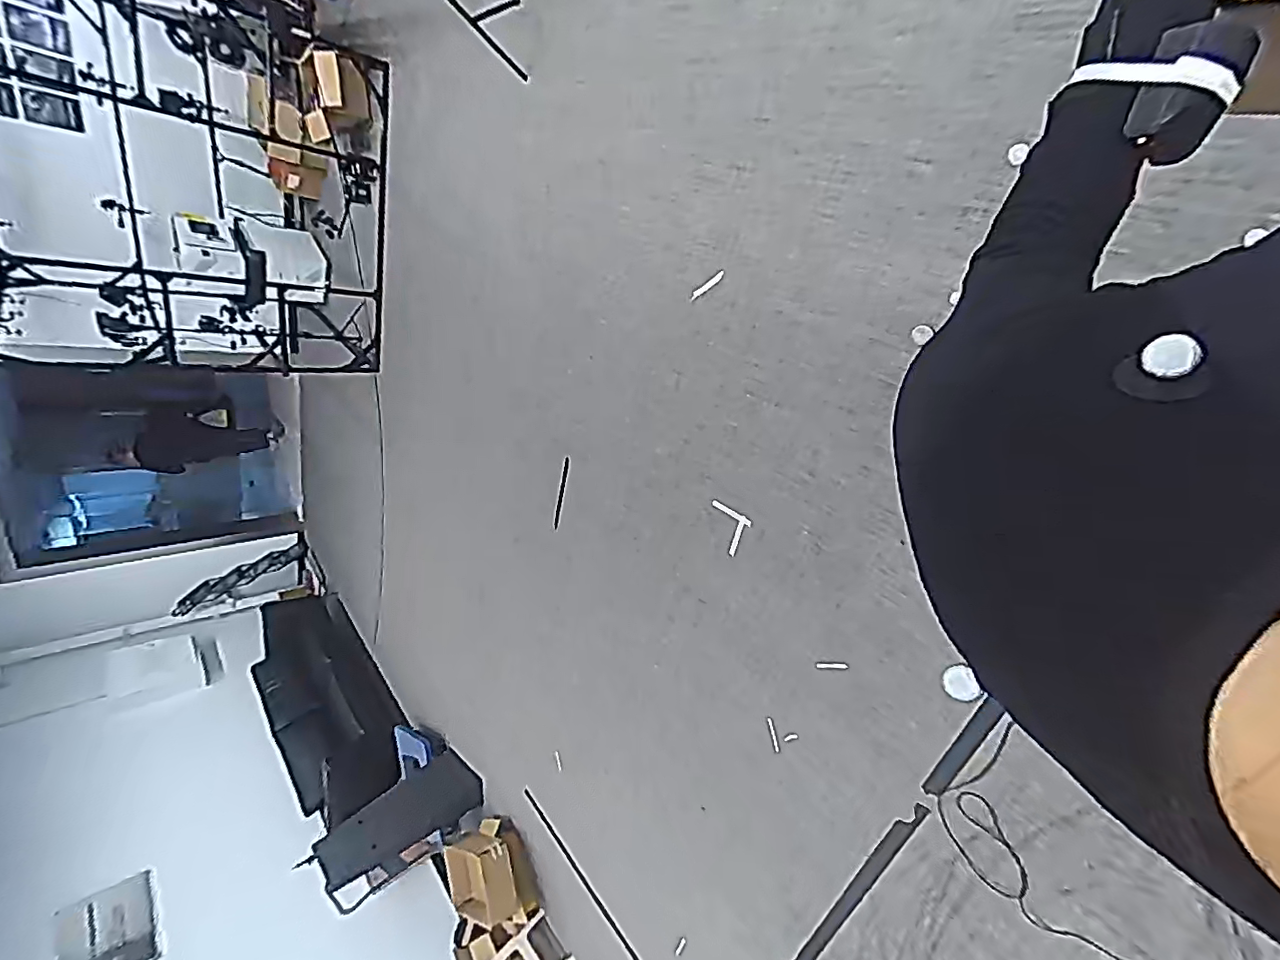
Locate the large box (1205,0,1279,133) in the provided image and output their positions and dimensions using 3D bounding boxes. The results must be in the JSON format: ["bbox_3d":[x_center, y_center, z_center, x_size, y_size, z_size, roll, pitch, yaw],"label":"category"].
[{"bbox_3d":[0.617,-0.376,0.260,0.408,0.320,0.320,30,124,36],"label":"large box"}]
